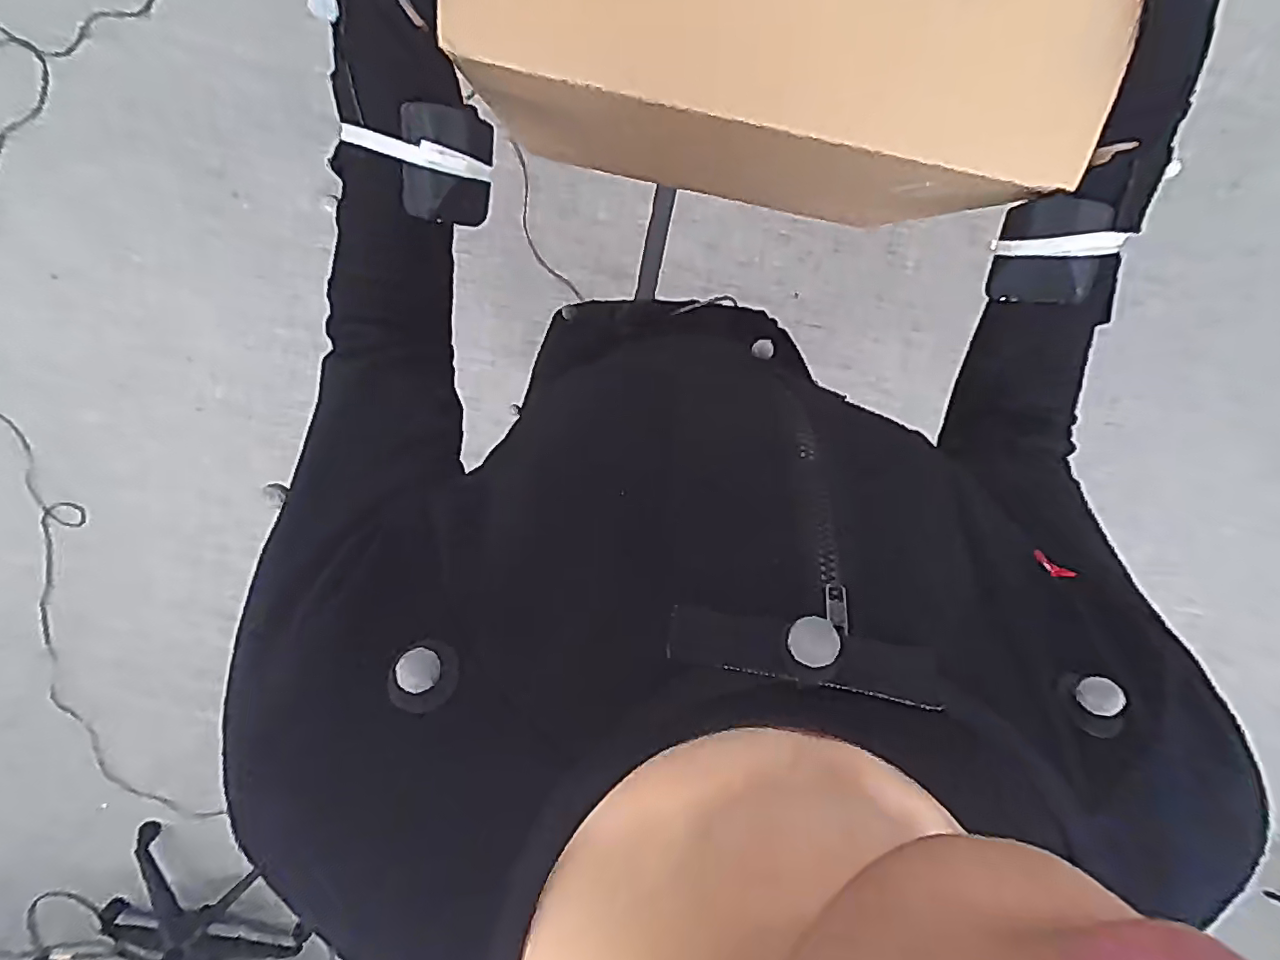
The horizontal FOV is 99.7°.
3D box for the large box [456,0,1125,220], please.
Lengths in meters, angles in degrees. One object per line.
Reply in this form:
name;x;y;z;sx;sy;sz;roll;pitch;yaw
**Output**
large box;0.099;-0.419;0.428;0.408;0.320;0.320;8;112;-7
